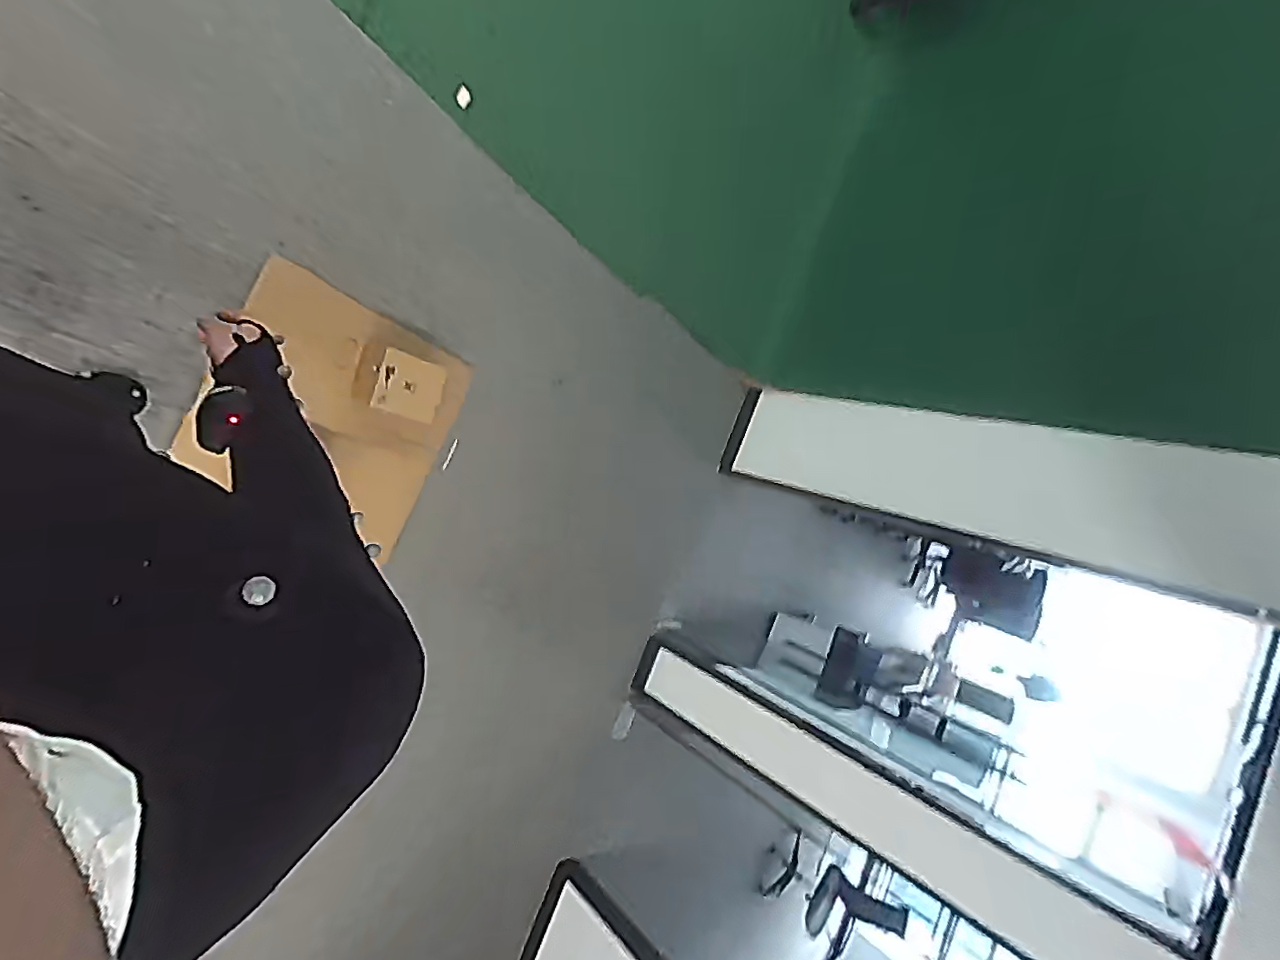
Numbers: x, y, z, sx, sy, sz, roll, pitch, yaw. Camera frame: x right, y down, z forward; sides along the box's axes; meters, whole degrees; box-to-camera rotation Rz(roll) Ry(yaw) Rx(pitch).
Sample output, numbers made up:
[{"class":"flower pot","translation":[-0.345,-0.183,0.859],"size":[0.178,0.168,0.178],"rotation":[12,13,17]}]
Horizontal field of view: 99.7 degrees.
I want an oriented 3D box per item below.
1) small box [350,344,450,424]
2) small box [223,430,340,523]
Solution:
[{"class":"small box","translation":[-0.670,-0.270,1.508],"size":[0.179,0.176,0.168],"rotation":[18,91,-48]},{"class":"small box","translation":[-0.902,-0.013,1.356],"size":[0.179,0.176,0.168],"rotation":[35,78,-47]}]
